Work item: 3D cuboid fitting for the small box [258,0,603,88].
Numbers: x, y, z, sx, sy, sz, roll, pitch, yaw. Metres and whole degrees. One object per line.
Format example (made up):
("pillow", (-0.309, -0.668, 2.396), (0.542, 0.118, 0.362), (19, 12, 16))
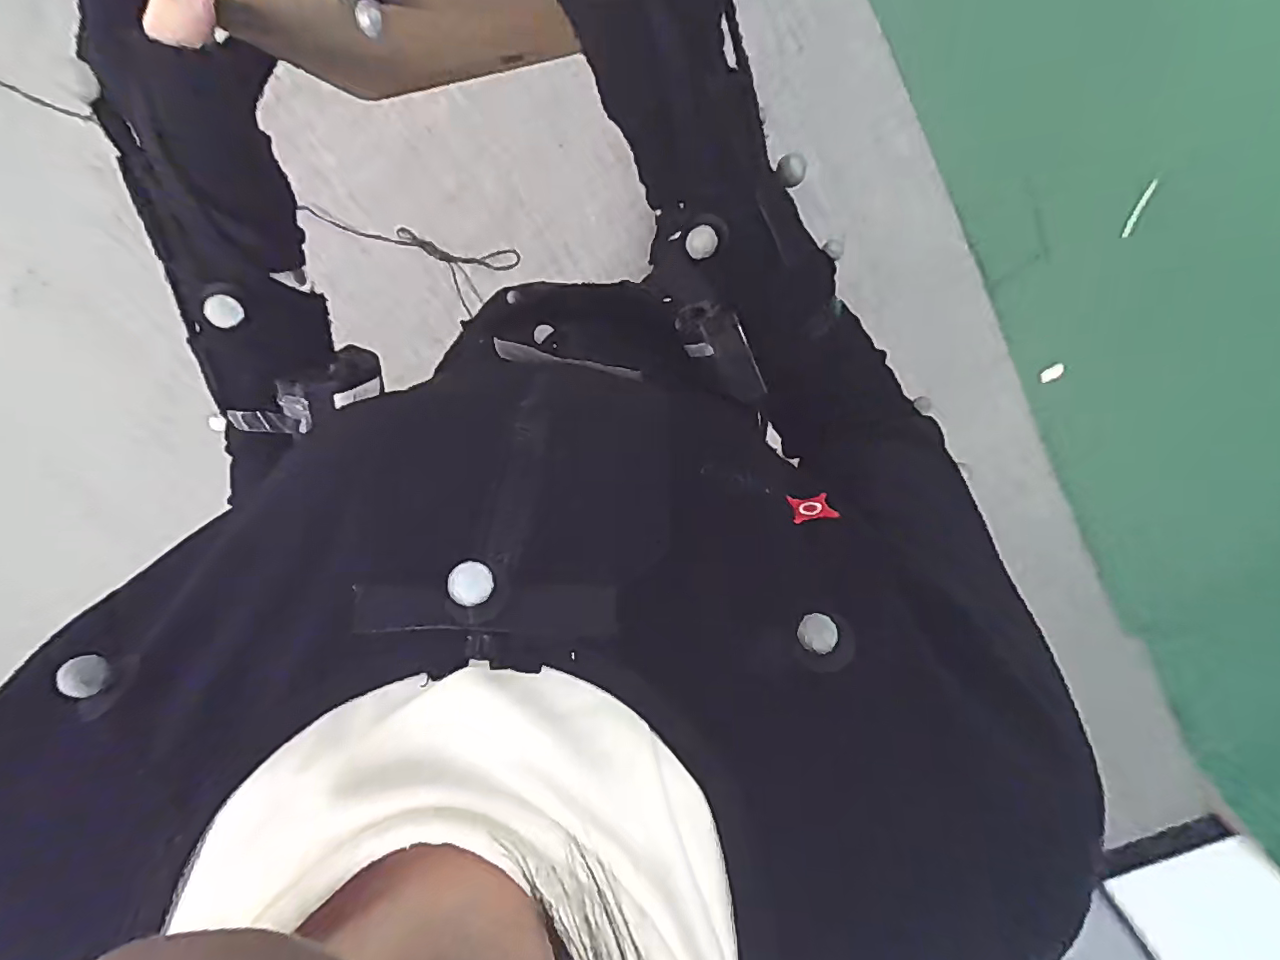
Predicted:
("small box", (-0.115, -0.310, 0.234), (0.168, 0.176, 0.179), (-11, 114, 3))
